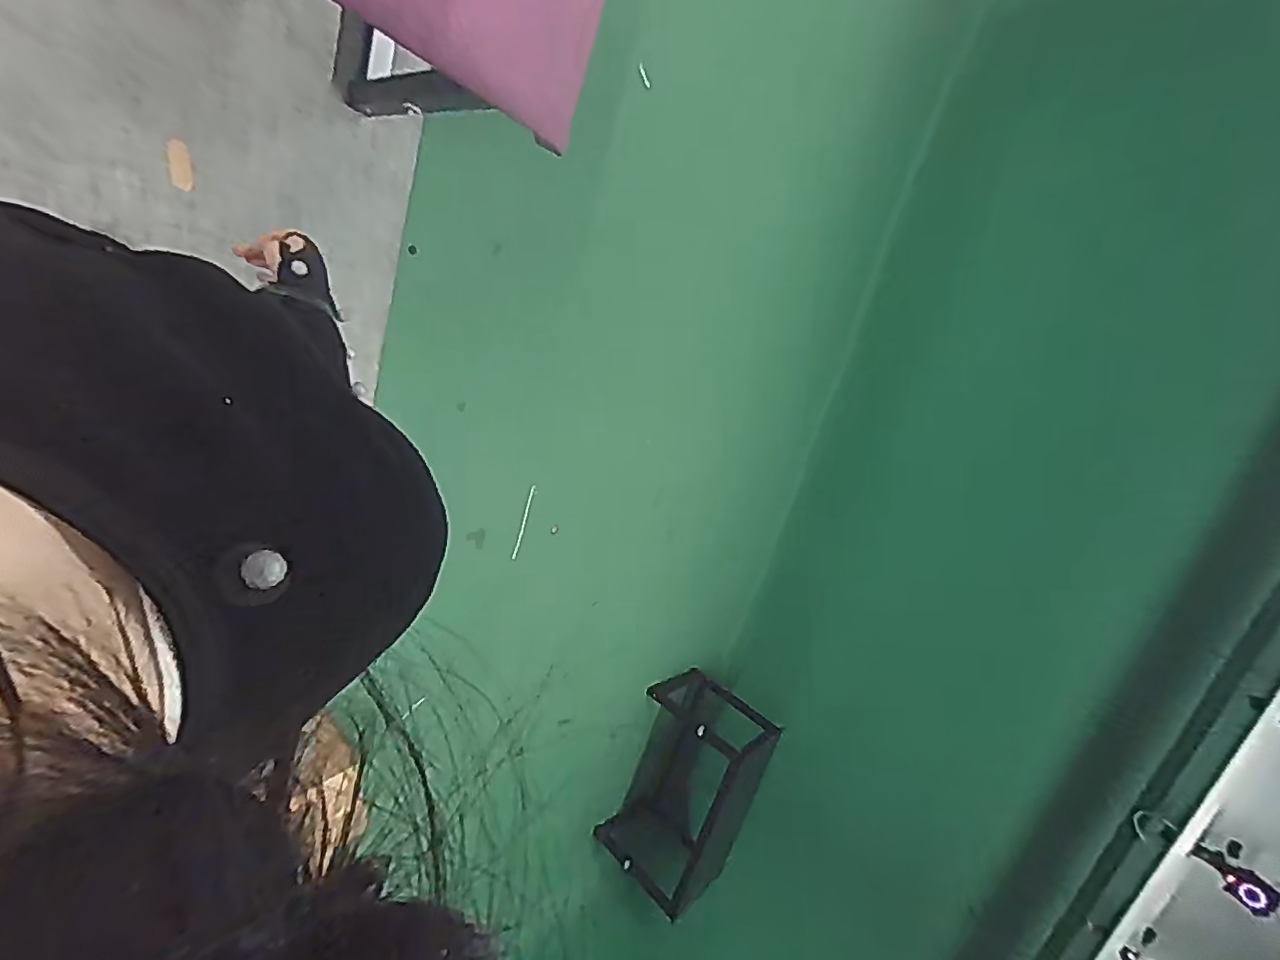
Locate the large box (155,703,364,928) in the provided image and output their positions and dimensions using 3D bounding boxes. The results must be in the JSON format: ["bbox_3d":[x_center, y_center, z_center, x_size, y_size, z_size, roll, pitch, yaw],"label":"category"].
[{"bbox_3d":[-1.098,0.952,1.589,0.408,0.320,0.320,-20,128,-46],"label":"large box"}]

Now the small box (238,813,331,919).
[{"bbox_3d":[-0.931,1.018,1.417,0.168,0.176,0.179,-12,120,-47],"label":"small box"}]
